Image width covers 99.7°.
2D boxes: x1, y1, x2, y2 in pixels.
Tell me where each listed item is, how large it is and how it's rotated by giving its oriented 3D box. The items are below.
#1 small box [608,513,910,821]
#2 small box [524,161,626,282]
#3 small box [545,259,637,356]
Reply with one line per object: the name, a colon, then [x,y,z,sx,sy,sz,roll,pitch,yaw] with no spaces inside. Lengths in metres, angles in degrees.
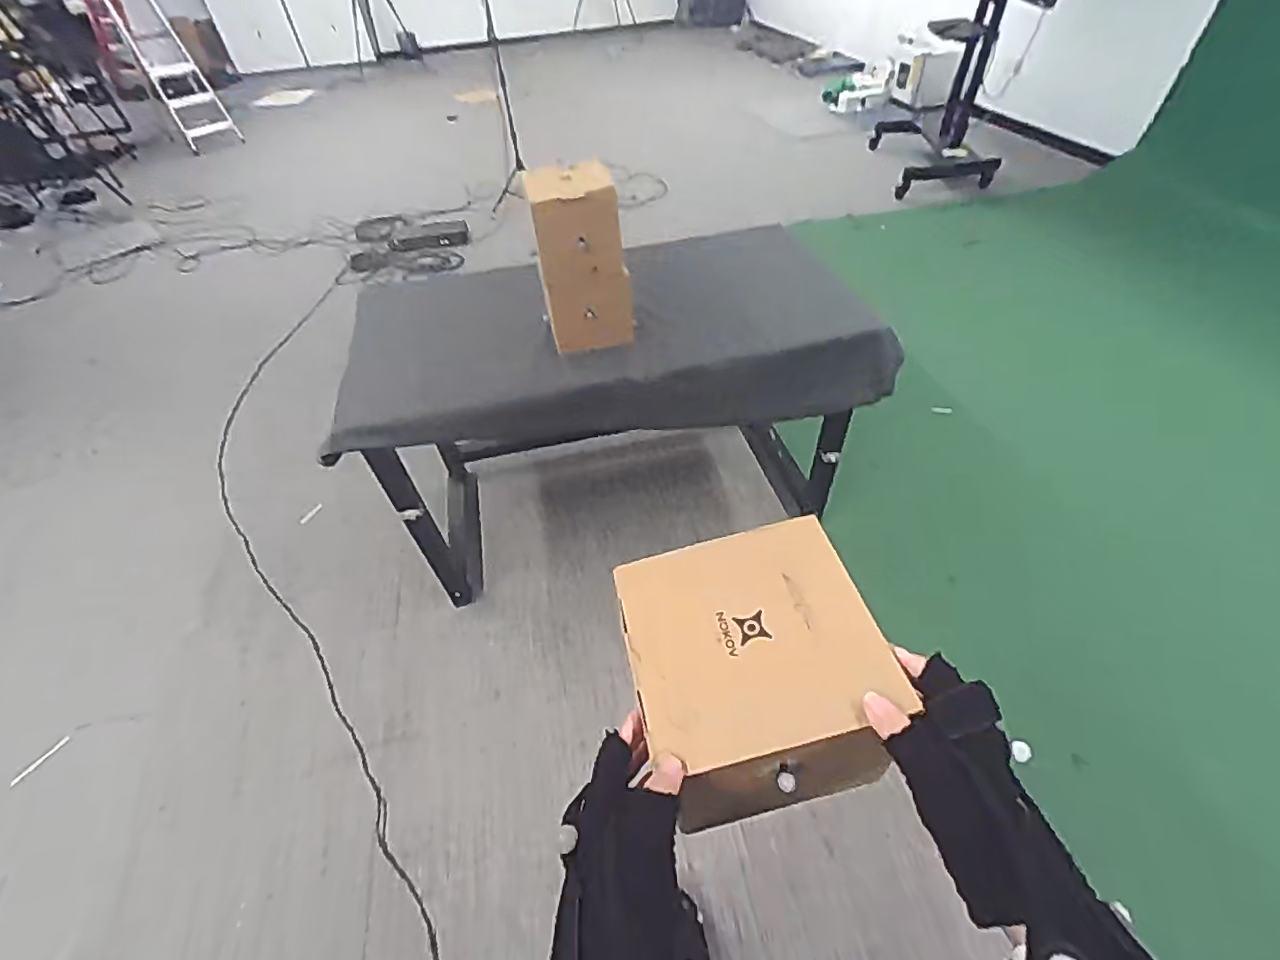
small box: [0.084,0.158,0.449,0.179,0.176,0.168,-14,48,-3]
small box: [-0.129,-0.516,1.094,0.168,0.176,0.179,-13,48,-7]
small box: [-0.110,-0.402,1.210,0.179,0.176,0.168,-14,48,-11]
